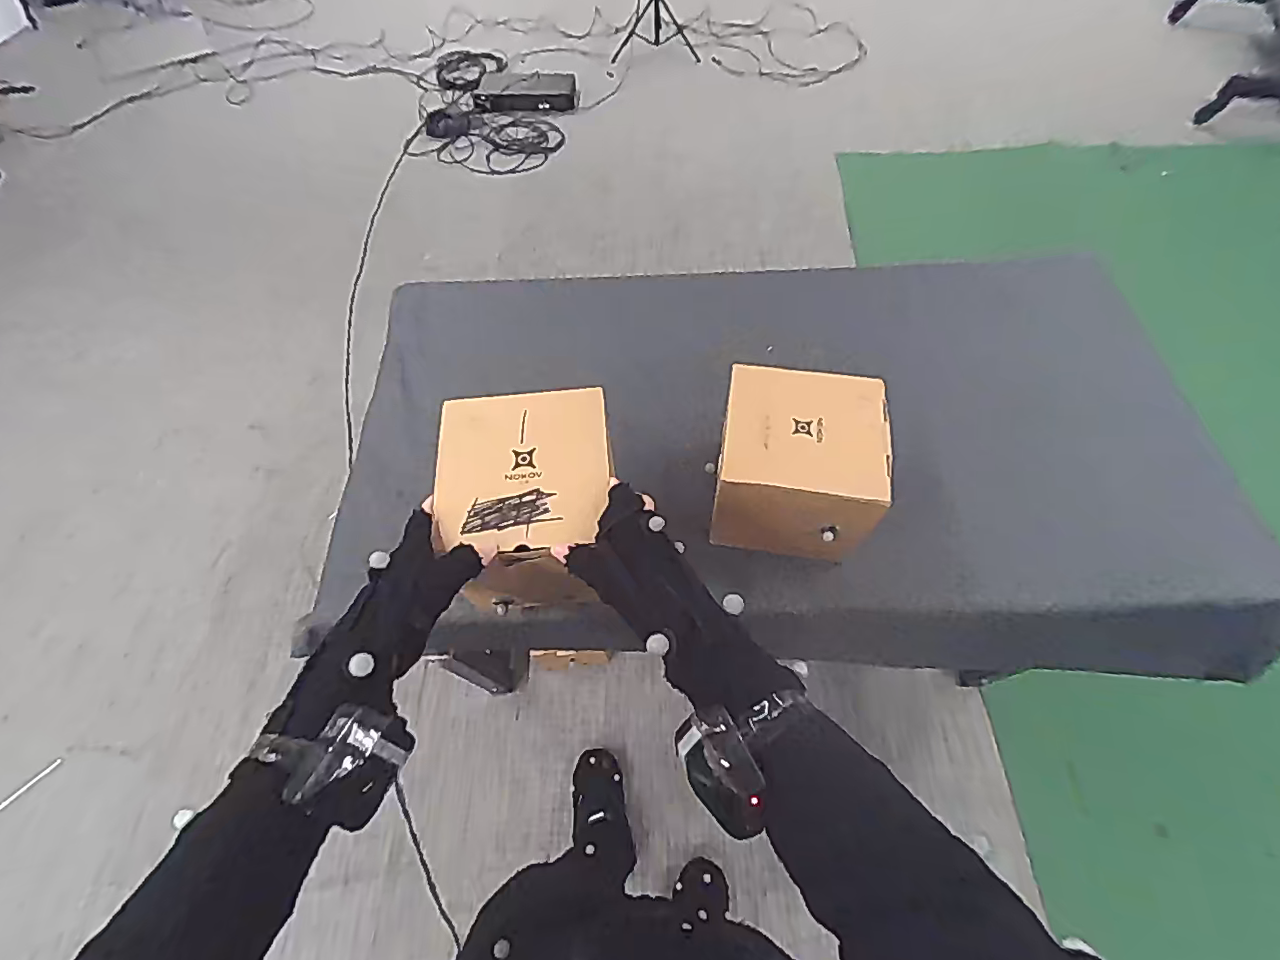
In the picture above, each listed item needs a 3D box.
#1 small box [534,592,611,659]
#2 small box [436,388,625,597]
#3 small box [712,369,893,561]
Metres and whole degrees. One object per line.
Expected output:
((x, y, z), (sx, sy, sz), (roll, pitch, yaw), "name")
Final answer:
((-0.161, 0.336, 1.323), (0.168, 0.176, 0.179), (-5, 62, -1), "small box")
((-0.106, 0.024, 0.594), (0.168, 0.176, 0.179), (-4, 61, -1), "small box")
((0.190, -0.011, 0.668), (0.179, 0.176, 0.168), (7, 60, 7), "small box")
